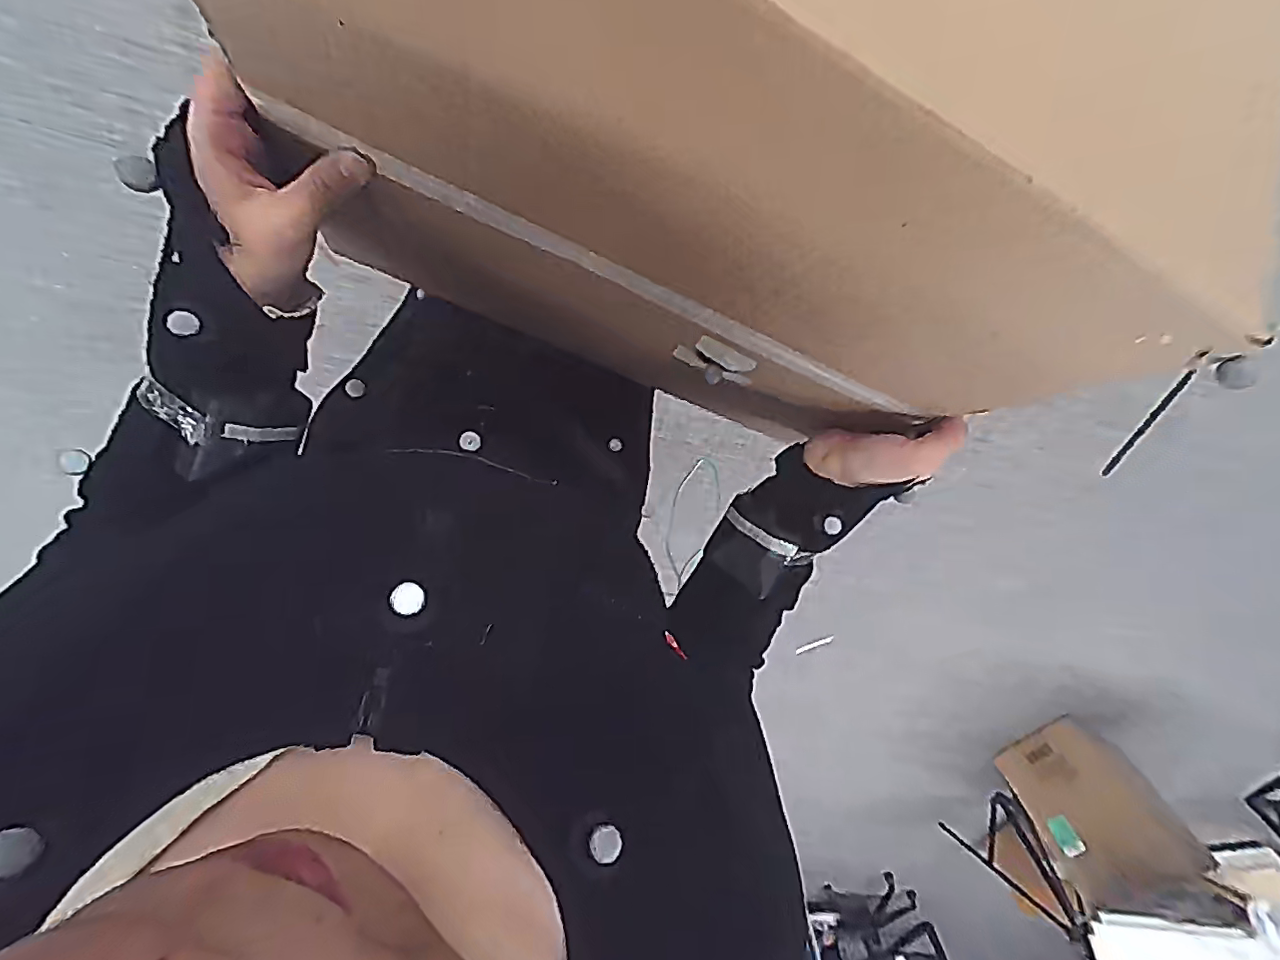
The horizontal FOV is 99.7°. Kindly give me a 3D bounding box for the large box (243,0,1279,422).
[{"bbox_3d":[0.066,-0.264,0.288,0.408,0.320,0.320,19,82,-15],"label":"large box"}]
